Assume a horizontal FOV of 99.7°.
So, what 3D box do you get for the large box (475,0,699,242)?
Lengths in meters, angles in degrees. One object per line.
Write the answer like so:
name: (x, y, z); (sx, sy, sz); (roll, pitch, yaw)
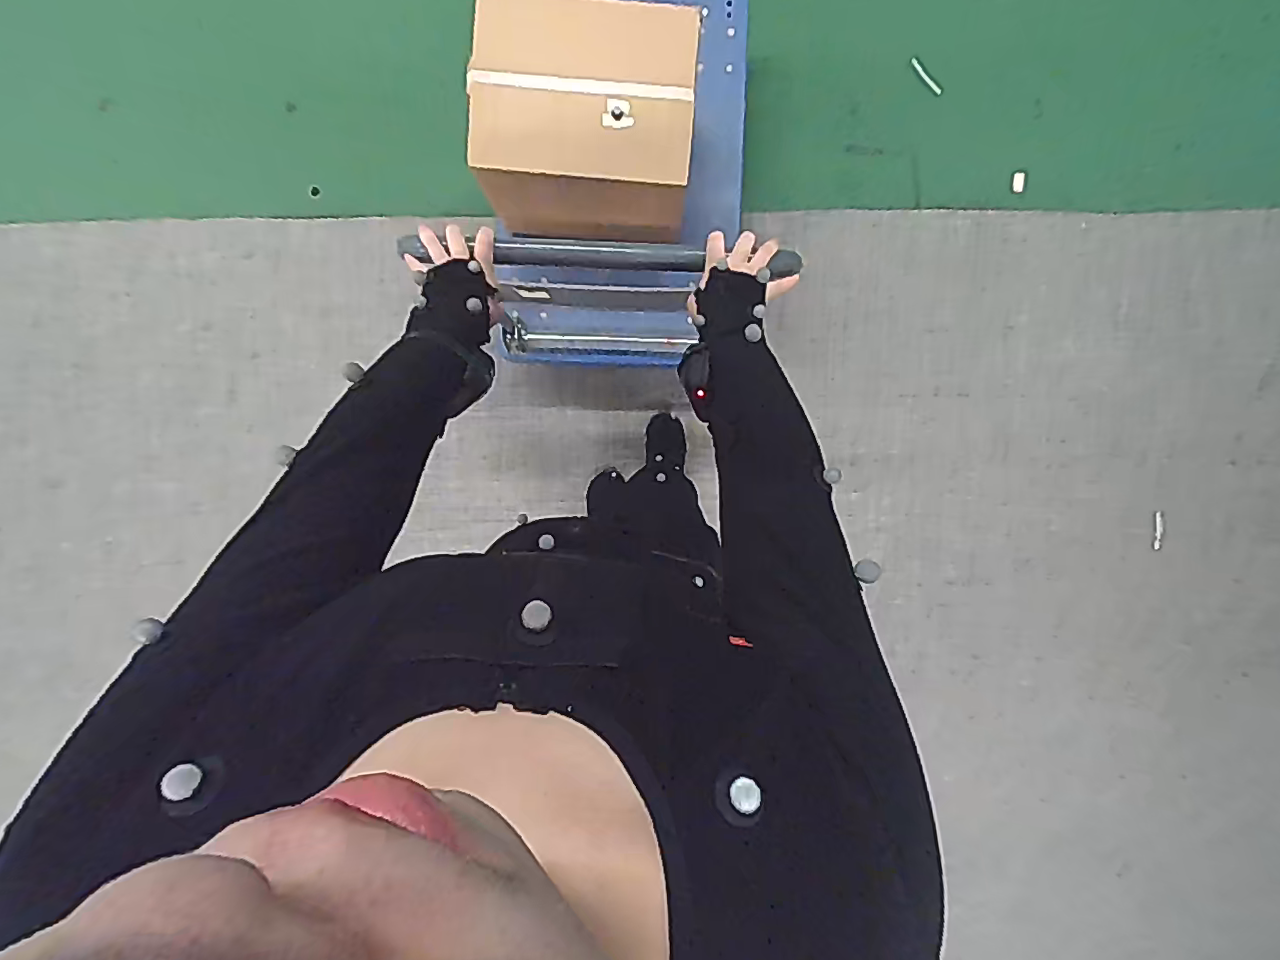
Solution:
large box: (-0.104, -0.726, 1.141); (0.408, 0.320, 0.320); (4, 94, -2)
